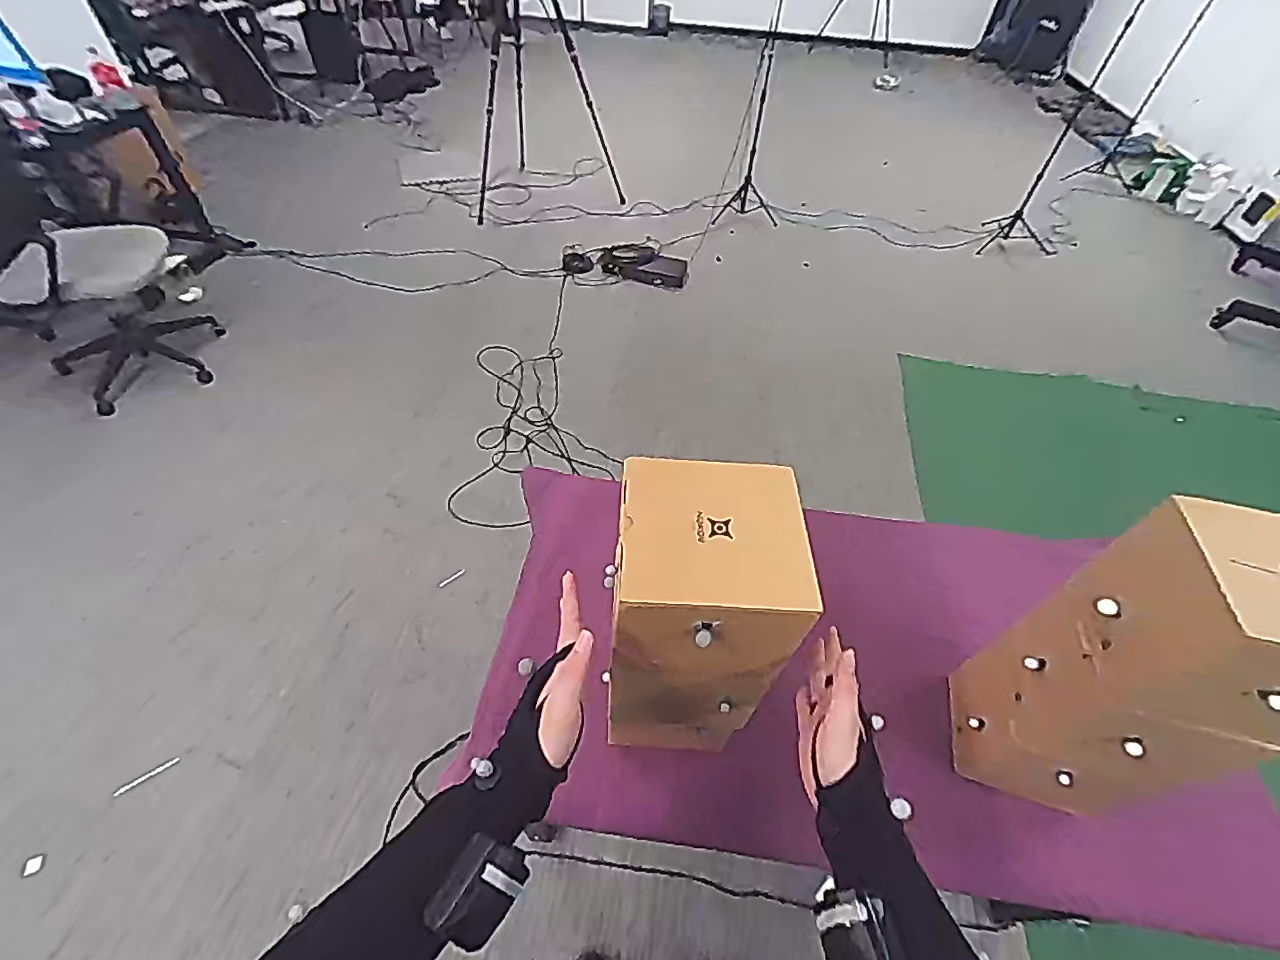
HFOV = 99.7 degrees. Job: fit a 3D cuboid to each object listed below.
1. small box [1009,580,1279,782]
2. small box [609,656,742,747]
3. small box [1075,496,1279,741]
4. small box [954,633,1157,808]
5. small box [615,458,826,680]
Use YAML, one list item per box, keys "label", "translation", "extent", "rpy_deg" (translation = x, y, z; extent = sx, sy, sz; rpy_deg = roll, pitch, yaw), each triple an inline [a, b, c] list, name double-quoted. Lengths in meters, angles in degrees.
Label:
- label: "small box"
  translation: [0.597, 0.254, 0.677]
  extent: [0.179, 0.176, 0.168]
  rpy_deg: [13, 51, 9]
- label: "small box"
  translation: [0.047, 0.294, 0.819]
  extent: [0.179, 0.176, 0.168]
  rpy_deg: [4, 49, 0]
- label: "small box"
  translation: [0.607, 0.146, 0.553]
  extent: [0.179, 0.176, 0.168]
  rpy_deg: [13, 50, 8]
- label: "small box"
  translation: [0.589, 0.360, 0.802]
  extent: [0.179, 0.176, 0.168]
  rpy_deg: [17, 51, 10]
- label: "small box"
  translation: [0.067, 0.097, 0.559]
  extent: [0.179, 0.176, 0.168]
  rpy_deg: [3, 51, -2]
